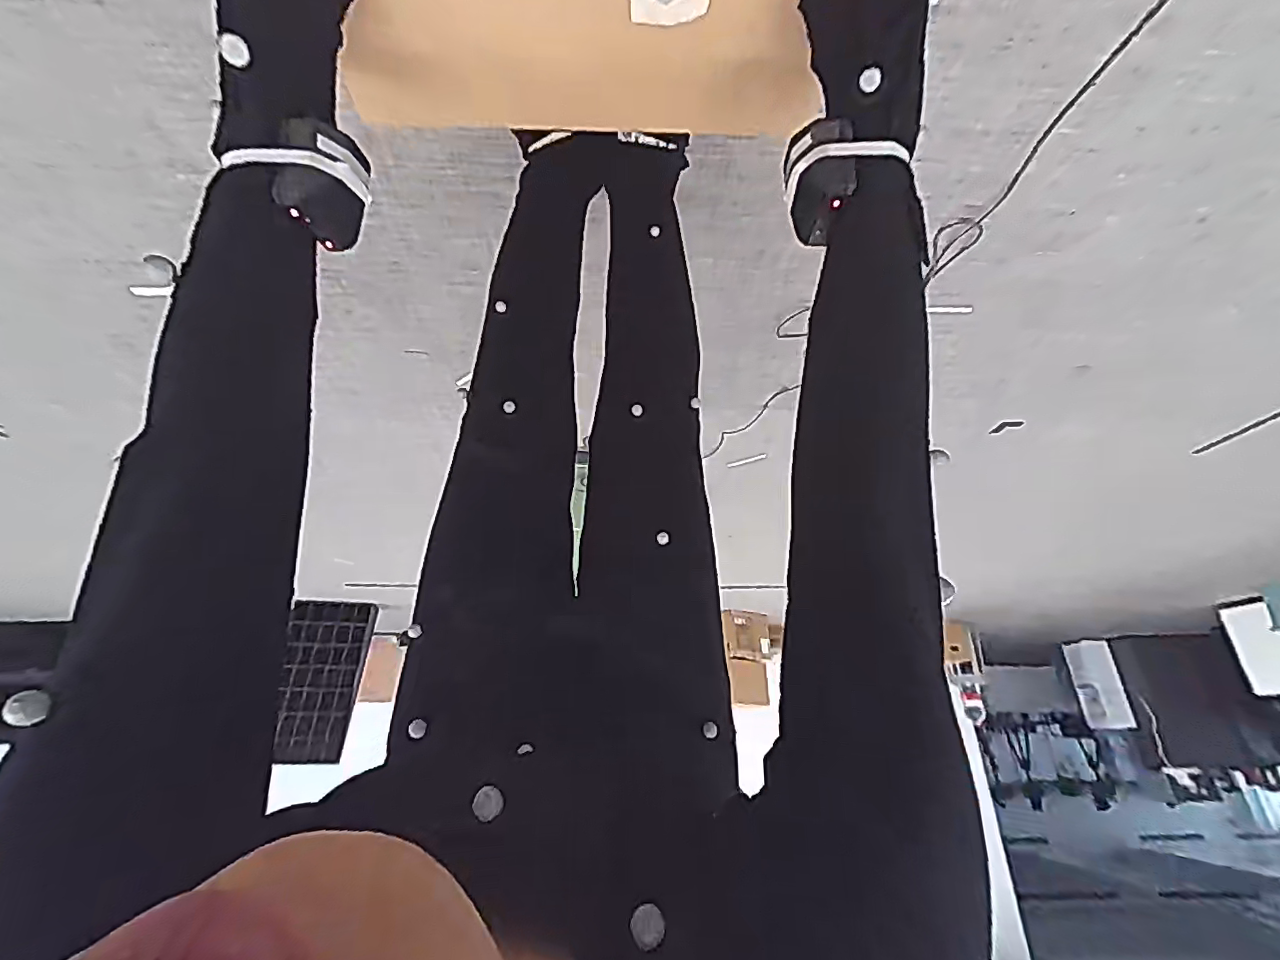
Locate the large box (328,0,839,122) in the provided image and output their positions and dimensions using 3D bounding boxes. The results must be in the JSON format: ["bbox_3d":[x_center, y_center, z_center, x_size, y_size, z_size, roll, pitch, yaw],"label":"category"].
[{"bbox_3d":[-0.045,-0.532,0.421,0.408,0.320,0.320,0,157,-1],"label":"large box"}]
